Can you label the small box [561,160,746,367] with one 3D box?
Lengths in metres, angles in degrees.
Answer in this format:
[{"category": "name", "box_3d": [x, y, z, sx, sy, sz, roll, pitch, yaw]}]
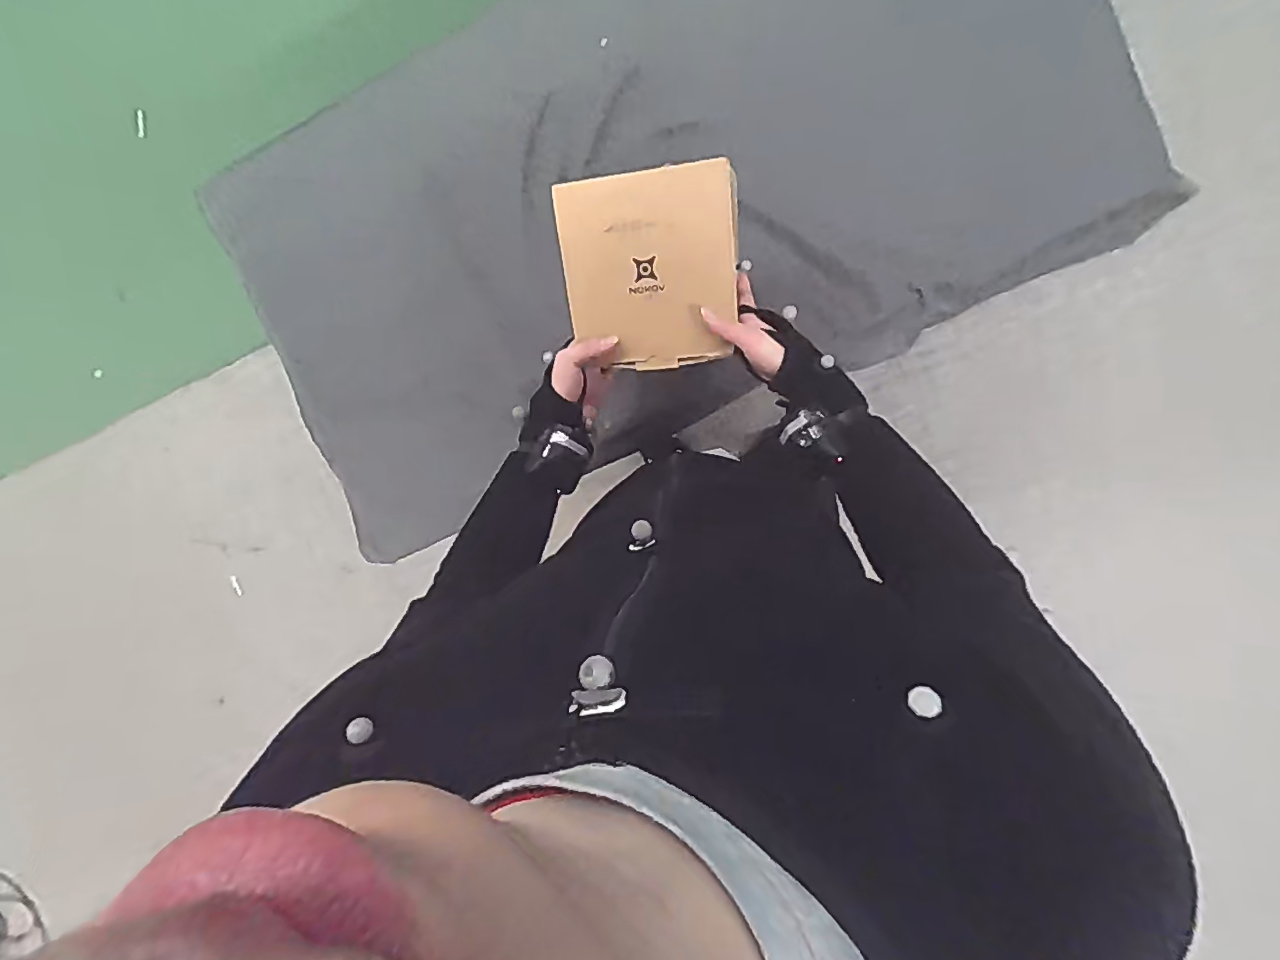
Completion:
[{"category": "small box", "box_3d": [0.029, -0.234, 0.594, 0.168, 0.176, 0.179, -2, 114, 13]}]
